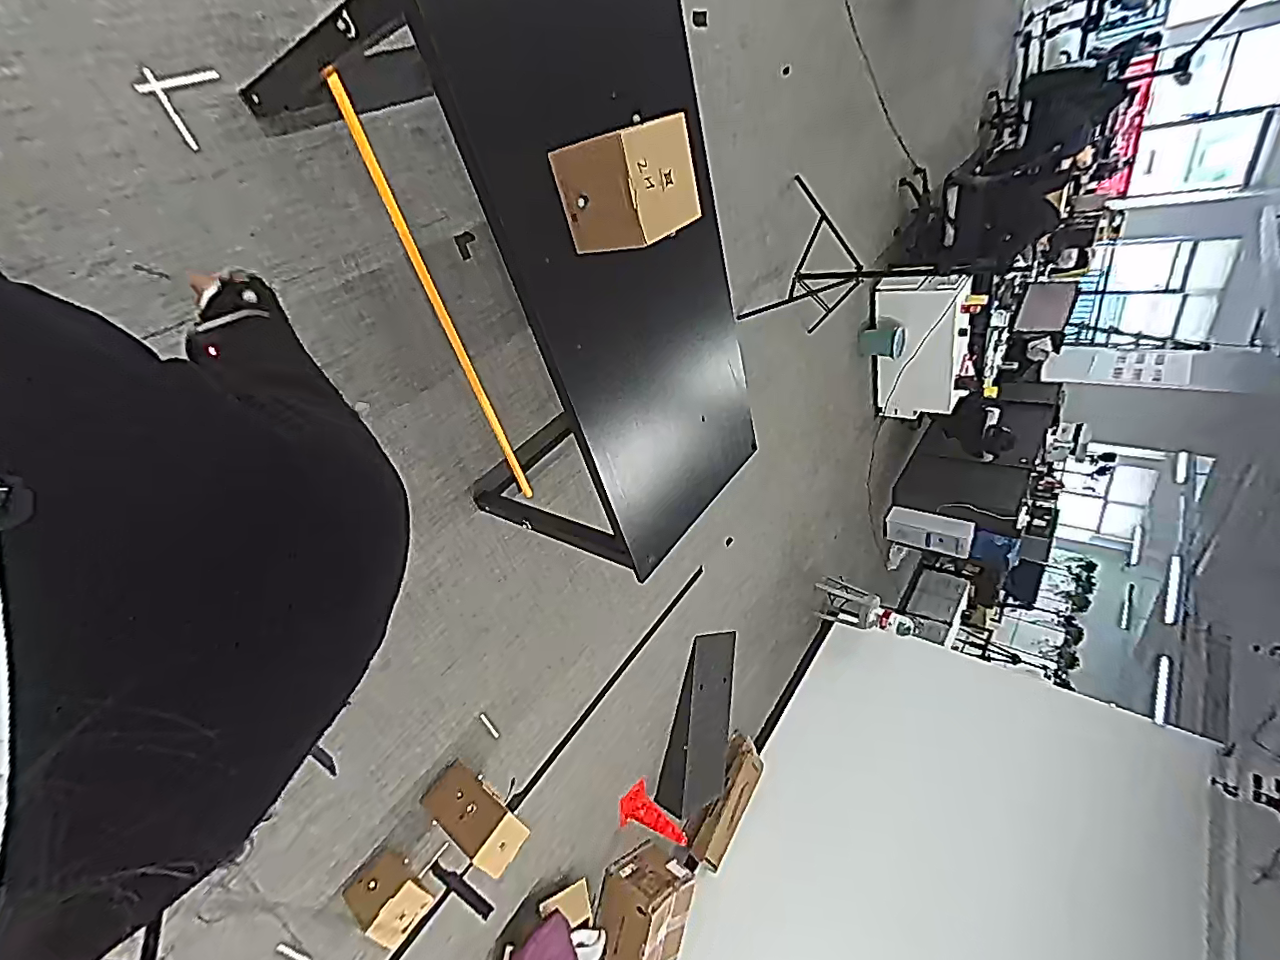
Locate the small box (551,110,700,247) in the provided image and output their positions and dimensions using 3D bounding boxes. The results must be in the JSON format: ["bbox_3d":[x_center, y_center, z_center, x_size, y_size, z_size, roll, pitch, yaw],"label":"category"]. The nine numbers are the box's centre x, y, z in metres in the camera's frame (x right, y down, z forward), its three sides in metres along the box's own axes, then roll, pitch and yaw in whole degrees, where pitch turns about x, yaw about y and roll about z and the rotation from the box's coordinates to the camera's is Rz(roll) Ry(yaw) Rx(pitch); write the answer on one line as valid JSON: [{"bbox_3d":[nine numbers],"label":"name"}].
[{"bbox_3d":[-0.022,-0.521,0.944,0.179,0.176,0.168,-43,131,-34],"label":"small box"}]

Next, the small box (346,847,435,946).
[{"bbox_3d":[-0.807,1.333,1.742,0.168,0.176,0.179,-44,131,-33],"label":"small box"}]

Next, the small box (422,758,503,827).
[{"bbox_3d":[-0.622,1.119,1.893,0.179,0.176,0.168,-45,132,-31],"label":"small box"}]

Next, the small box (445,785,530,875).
[{"bbox_3d":[-0.503,1.151,1.787,0.168,0.176,0.179,-49,133,-31],"label":"small box"}]
